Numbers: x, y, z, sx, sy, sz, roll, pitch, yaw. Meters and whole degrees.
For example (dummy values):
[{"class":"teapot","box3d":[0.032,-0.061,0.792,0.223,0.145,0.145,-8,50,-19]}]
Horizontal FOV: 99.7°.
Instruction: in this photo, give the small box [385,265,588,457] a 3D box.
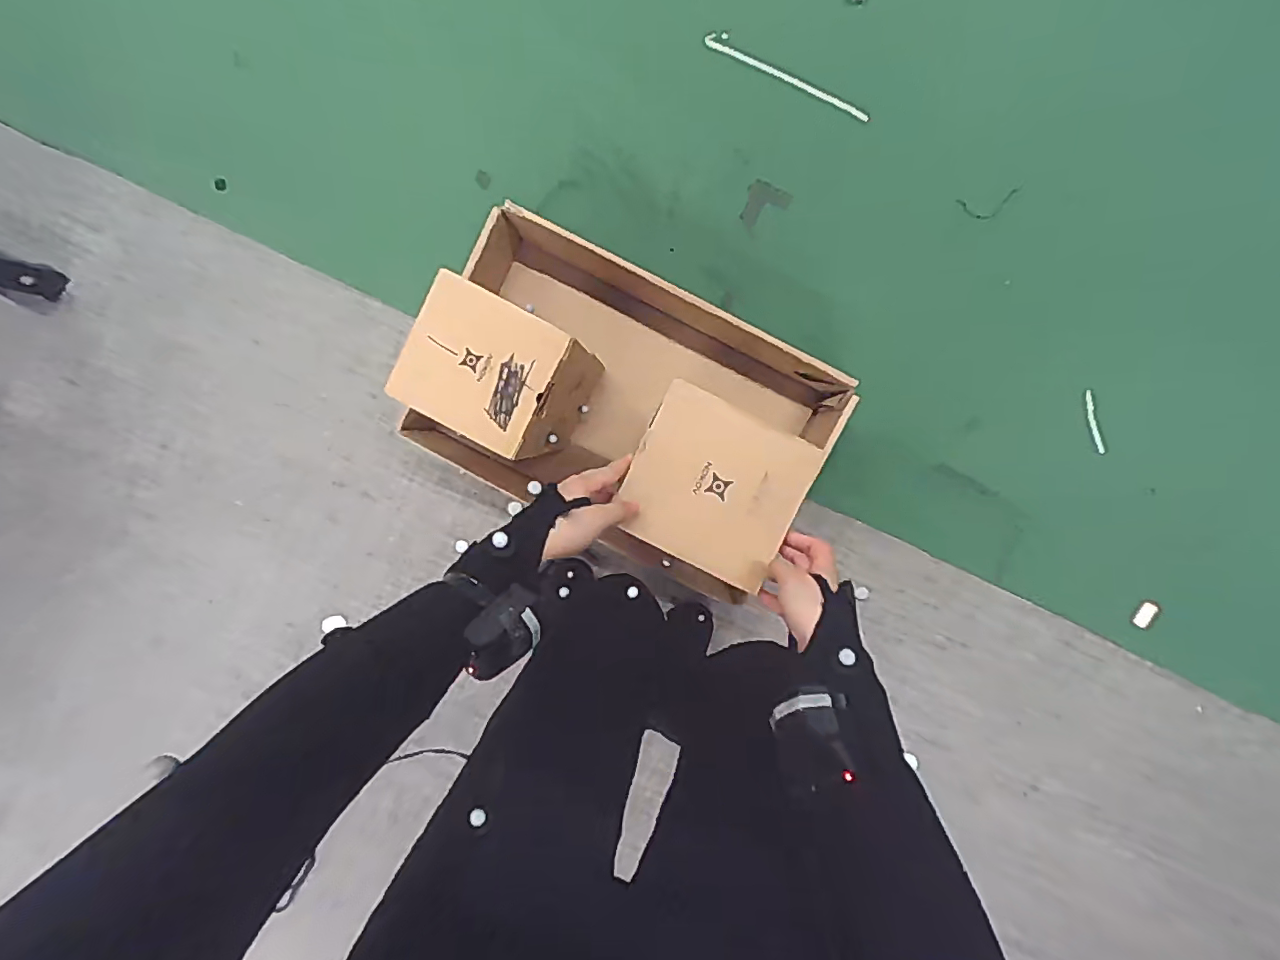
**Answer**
[{"class":"small box","box3d":[-0.183,-0.145,0.704,0.179,0.176,0.168,28,96,0]}]

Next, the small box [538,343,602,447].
[{"class":"small box","box3d":[-0.177,-0.164,0.867,0.179,0.176,0.168,27,96,-2]}]

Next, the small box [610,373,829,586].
[{"class":"small box","box3d":[0.078,0.003,0.625,0.179,0.176,0.168,26,87,-1]}]
